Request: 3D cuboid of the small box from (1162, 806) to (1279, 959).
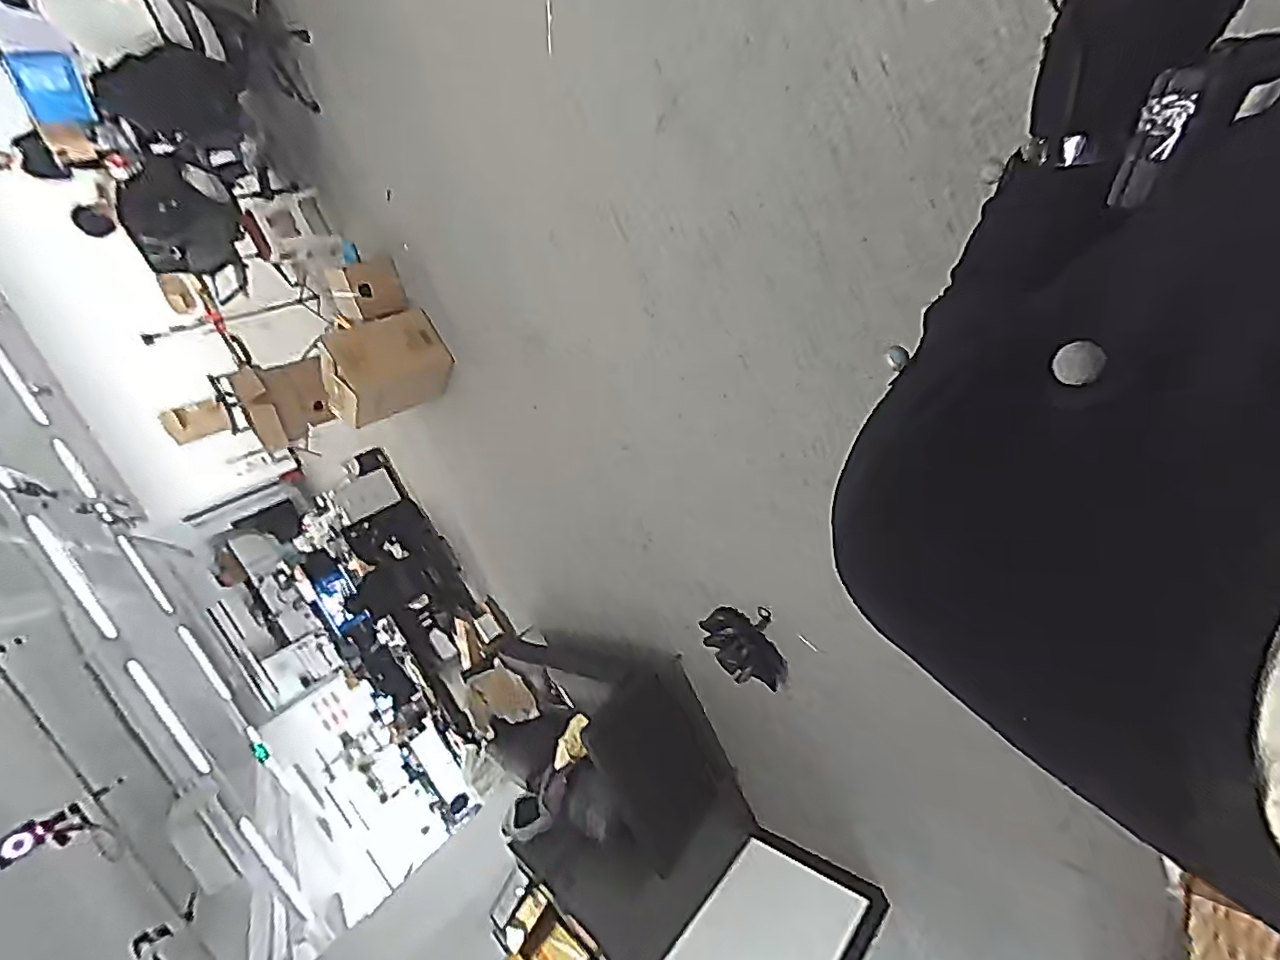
[{"bbox_3d":[0.837,0.595,0.726,0.168,0.176,0.179,-5,110,52],"label":"small box"}]
